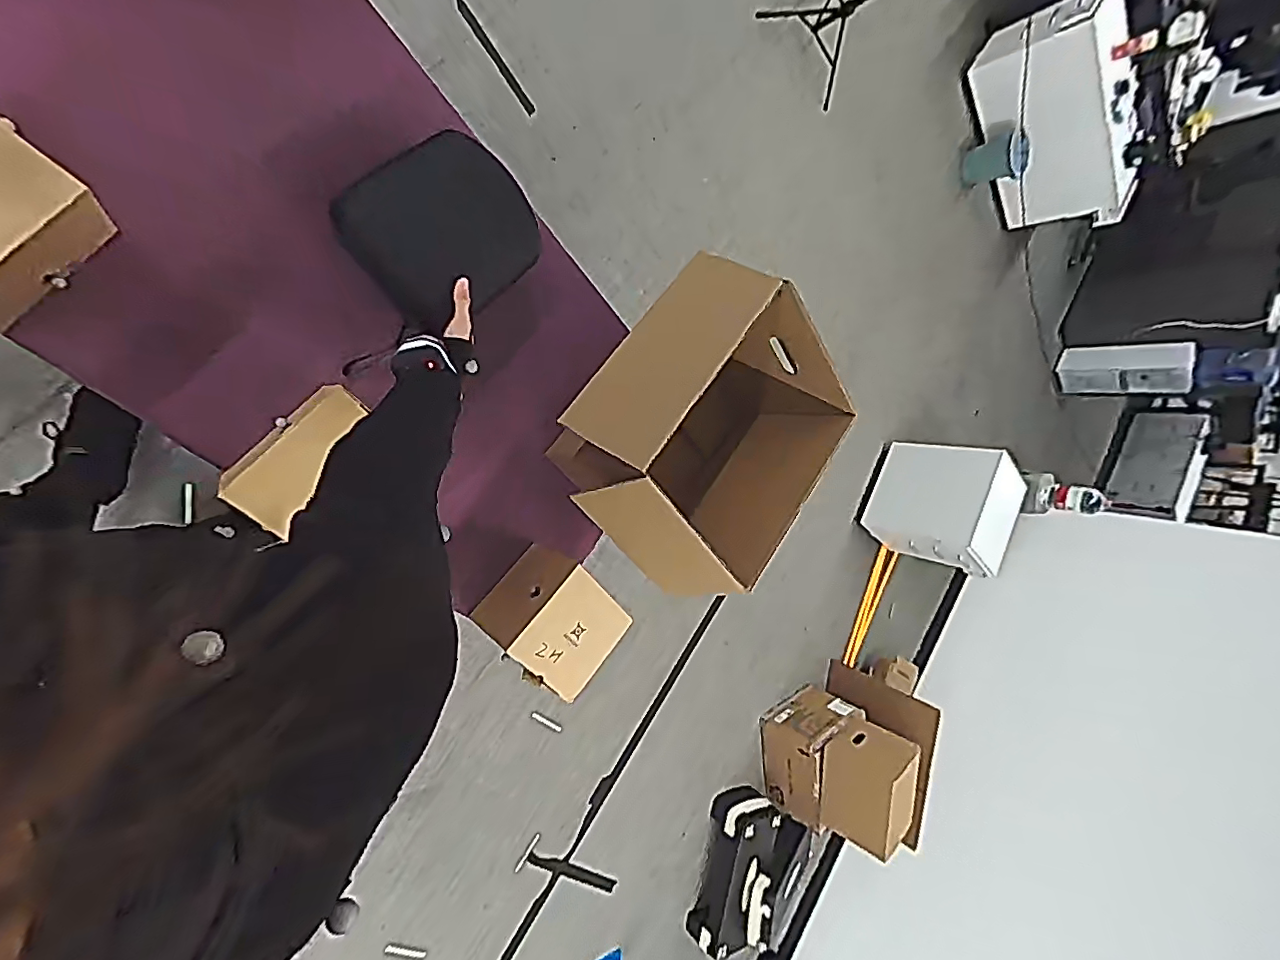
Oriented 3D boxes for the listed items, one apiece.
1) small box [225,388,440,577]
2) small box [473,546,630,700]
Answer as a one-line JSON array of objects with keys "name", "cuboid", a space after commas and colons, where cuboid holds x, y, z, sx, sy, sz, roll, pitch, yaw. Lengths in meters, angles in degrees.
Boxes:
[{"name": "small box", "cuboid": [-0.408, -0.006, 0.718, 0.179, 0.176, 0.168, -51, 123, -18]}, {"name": "small box", "cuboid": [-0.158, 0.238, 0.943, 0.179, 0.176, 0.168, -49, 122, -21]}]
